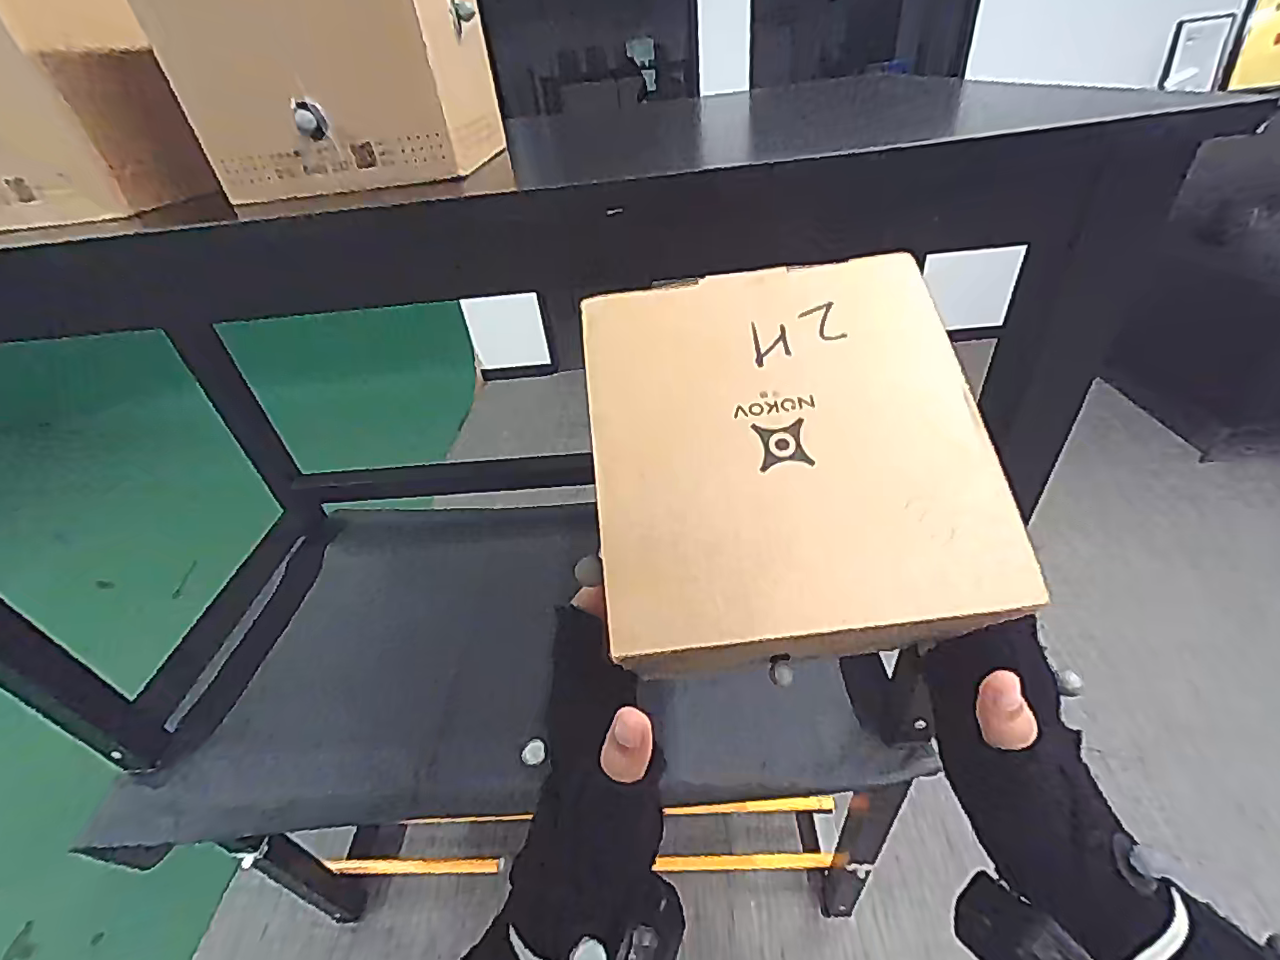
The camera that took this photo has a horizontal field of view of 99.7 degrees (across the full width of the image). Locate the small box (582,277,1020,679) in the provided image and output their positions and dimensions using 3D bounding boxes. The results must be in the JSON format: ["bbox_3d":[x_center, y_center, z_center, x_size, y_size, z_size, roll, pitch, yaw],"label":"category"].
[{"bbox_3d":[0.065,0.017,0.314,0.168,0.176,0.179,-7,66,2],"label":"small box"}]

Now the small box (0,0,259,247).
[{"bbox_3d":[-0.446,-0.284,0.413,0.168,0.176,0.179,-4,37,5],"label":"small box"}]
